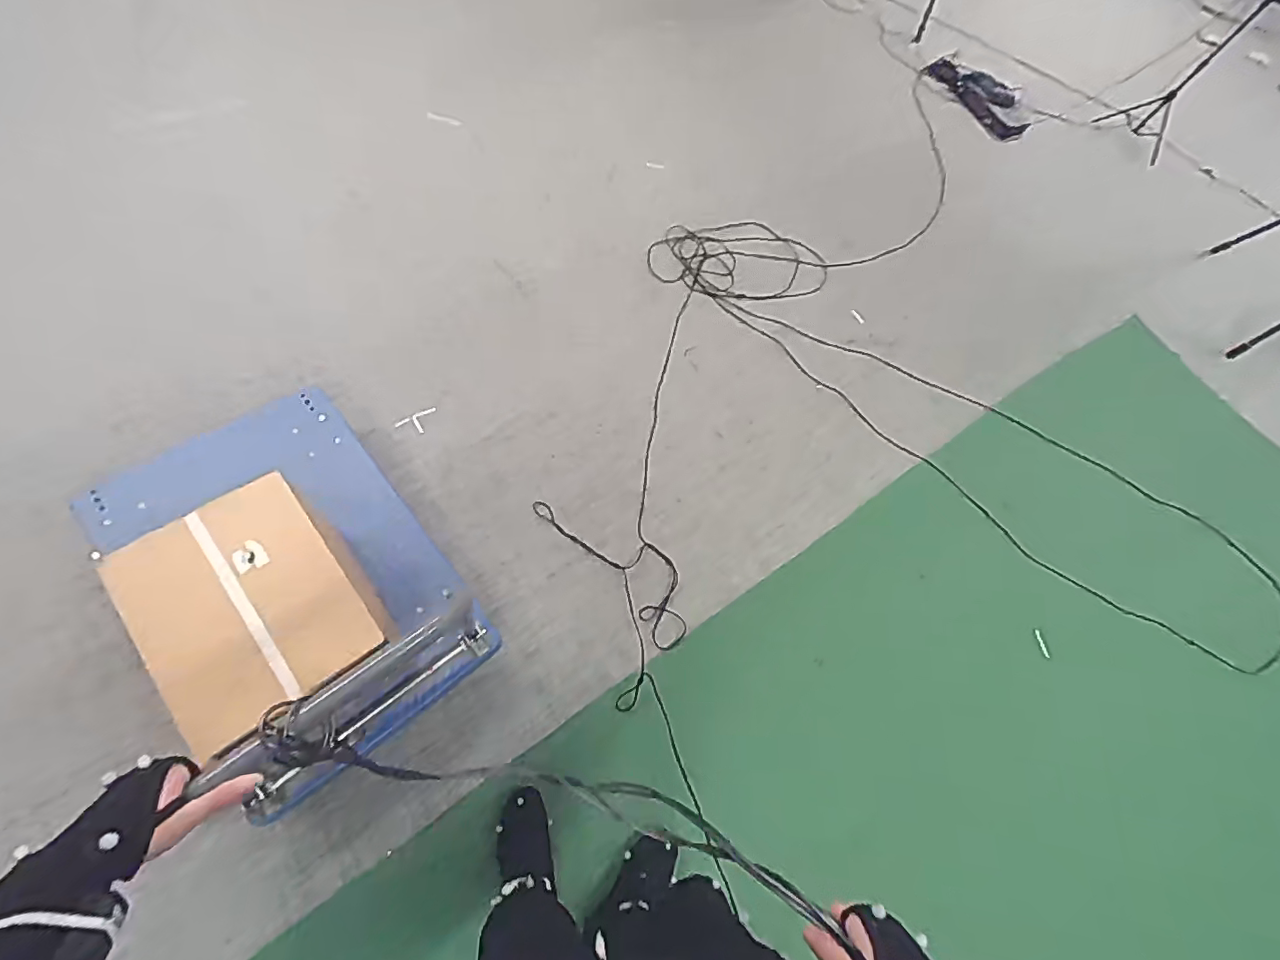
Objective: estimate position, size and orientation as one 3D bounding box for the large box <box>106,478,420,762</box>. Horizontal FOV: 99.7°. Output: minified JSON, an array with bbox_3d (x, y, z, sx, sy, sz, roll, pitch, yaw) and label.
[{"bbox_3d":[-0.706,0.281,1.078,0.320,0.320,0.408,-34,76,-24],"label":"large box"}]
